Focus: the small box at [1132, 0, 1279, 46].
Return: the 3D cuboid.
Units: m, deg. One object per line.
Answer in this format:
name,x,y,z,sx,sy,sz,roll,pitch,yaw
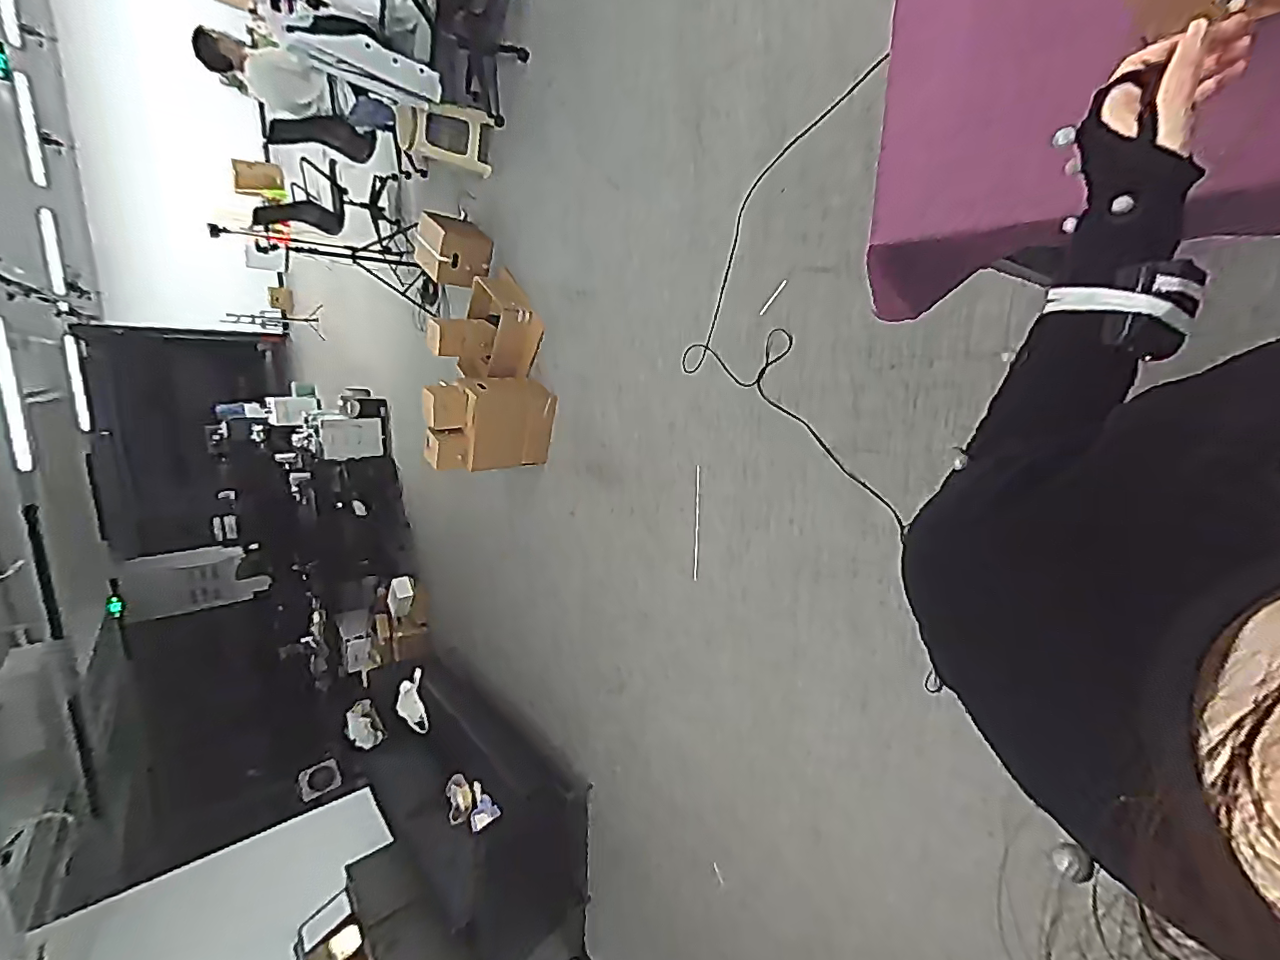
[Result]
small box,0.534,-0.521,0.453,0.168,0.176,0.179,17,110,48
